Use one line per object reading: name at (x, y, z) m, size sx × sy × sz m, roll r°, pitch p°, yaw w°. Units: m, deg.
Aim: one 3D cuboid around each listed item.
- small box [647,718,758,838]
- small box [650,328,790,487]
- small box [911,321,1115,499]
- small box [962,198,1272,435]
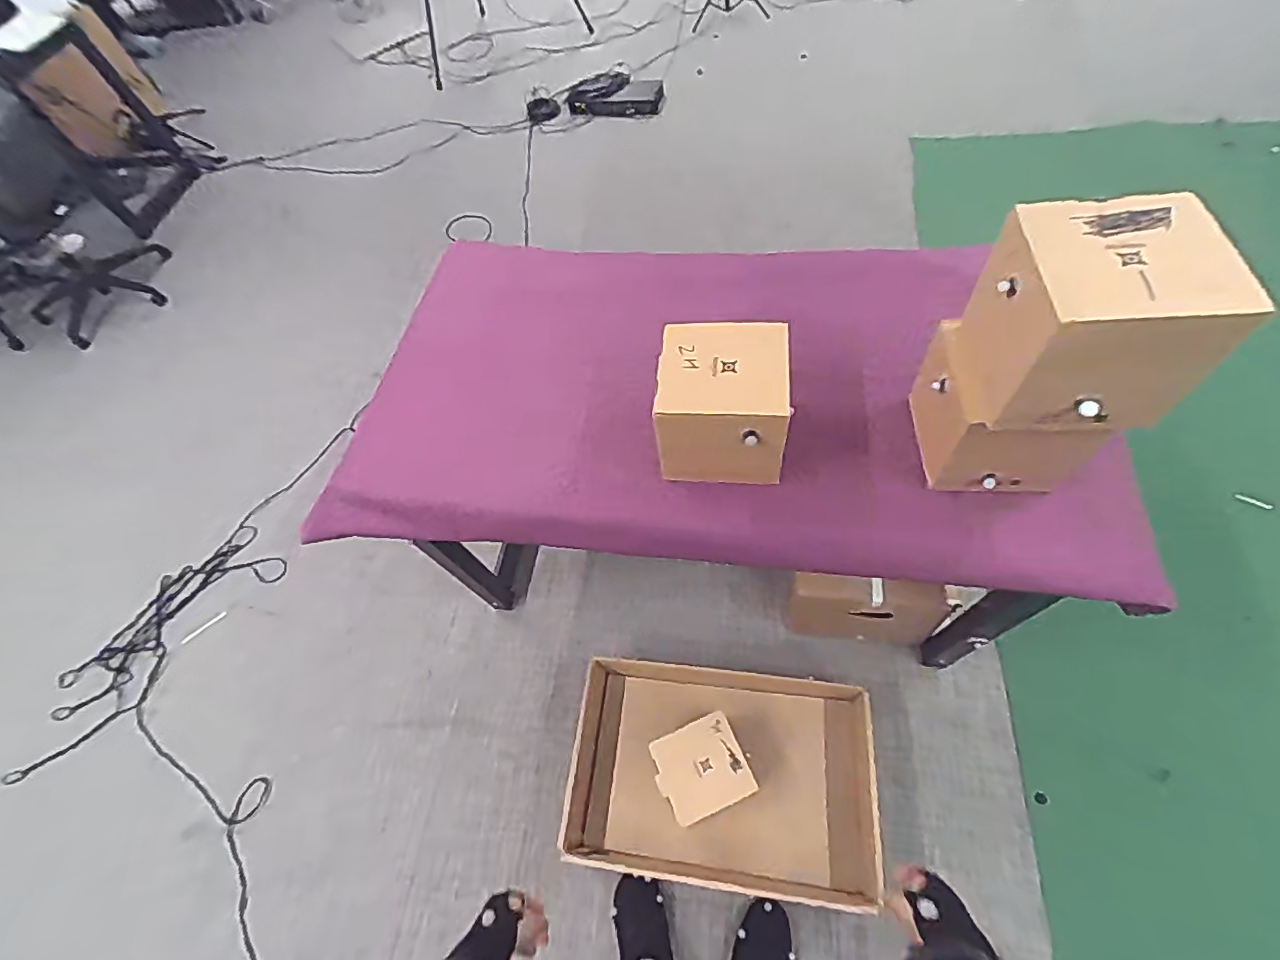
small box at (0.135, 0.631, 1.145) m, size 0.179 × 0.176 × 0.168 m, roll -24°, pitch 58°, yaw -5°
small box at (0.119, -0.100, 0.788) m, size 0.179 × 0.176 × 0.168 m, roll 2°, pitch 58°, yaw 11°
small box at (0.480, -0.092, 0.725) m, size 0.168 × 0.176 × 0.179 m, roll 0°, pitch 58°, yaw 11°
small box at (0.472, -0.167, 0.577) m, size 0.168 × 0.176 × 0.179 m, roll 0°, pitch 58°, yaw 11°
